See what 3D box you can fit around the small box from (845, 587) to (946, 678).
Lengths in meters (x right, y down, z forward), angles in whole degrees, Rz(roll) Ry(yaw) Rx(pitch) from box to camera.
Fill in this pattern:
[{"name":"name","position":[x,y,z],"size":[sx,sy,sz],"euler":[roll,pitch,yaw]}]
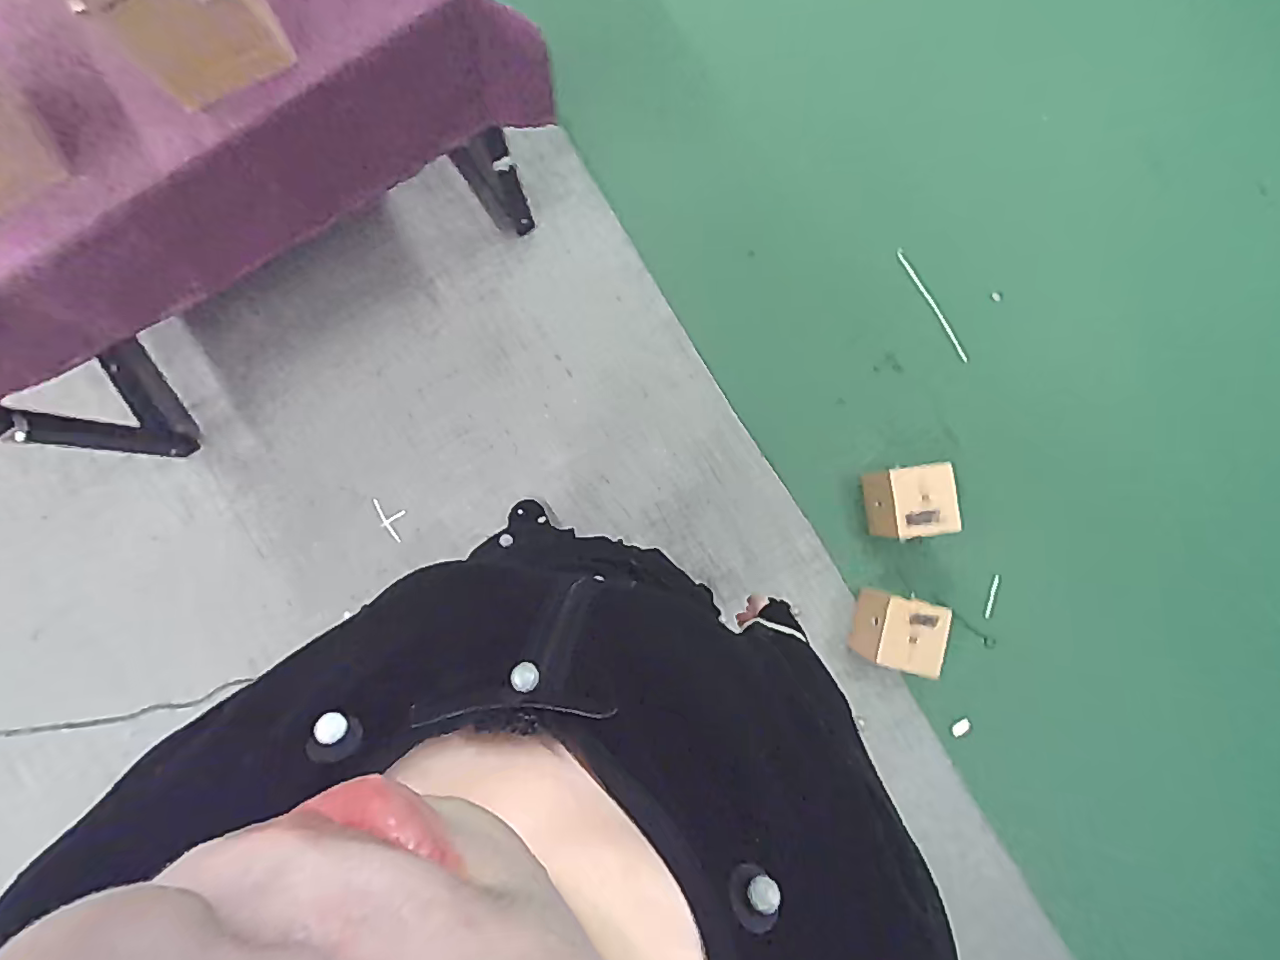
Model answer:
[{"name":"small box","position":[0.671,0.396,1.438],"size":[0.168,0.176,0.179],"euler":[14,88,-1]}]

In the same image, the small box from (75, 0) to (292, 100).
[{"name":"small box","position":[-0.623,-0.663,0.724],"size":[0.179,0.176,0.168],"euler":[-27,88,-3]}]

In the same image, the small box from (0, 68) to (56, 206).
[{"name":"small box","position":[-0.939,-0.481,0.706],"size":[0.179,0.176,0.168],"euler":[-31,88,-2]}]
